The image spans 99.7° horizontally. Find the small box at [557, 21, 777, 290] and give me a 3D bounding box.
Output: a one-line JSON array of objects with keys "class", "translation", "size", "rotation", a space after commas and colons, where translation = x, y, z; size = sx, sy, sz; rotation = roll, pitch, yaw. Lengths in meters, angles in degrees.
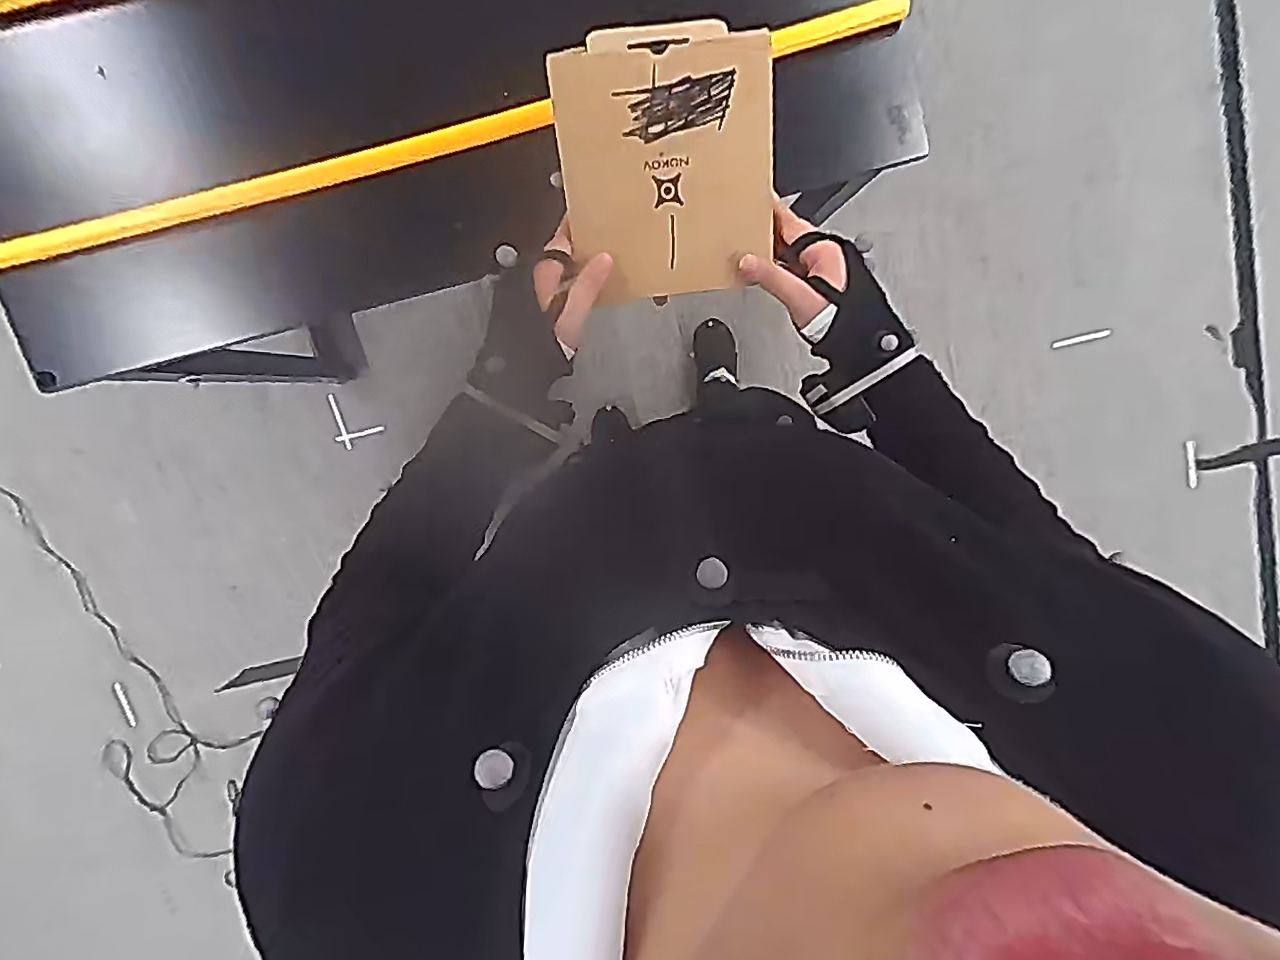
[{"class": "small box", "translation": [0.021, -0.275, 0.496], "size": [0.168, 0.176, 0.179], "rotation": [-6, 113, 0]}]
